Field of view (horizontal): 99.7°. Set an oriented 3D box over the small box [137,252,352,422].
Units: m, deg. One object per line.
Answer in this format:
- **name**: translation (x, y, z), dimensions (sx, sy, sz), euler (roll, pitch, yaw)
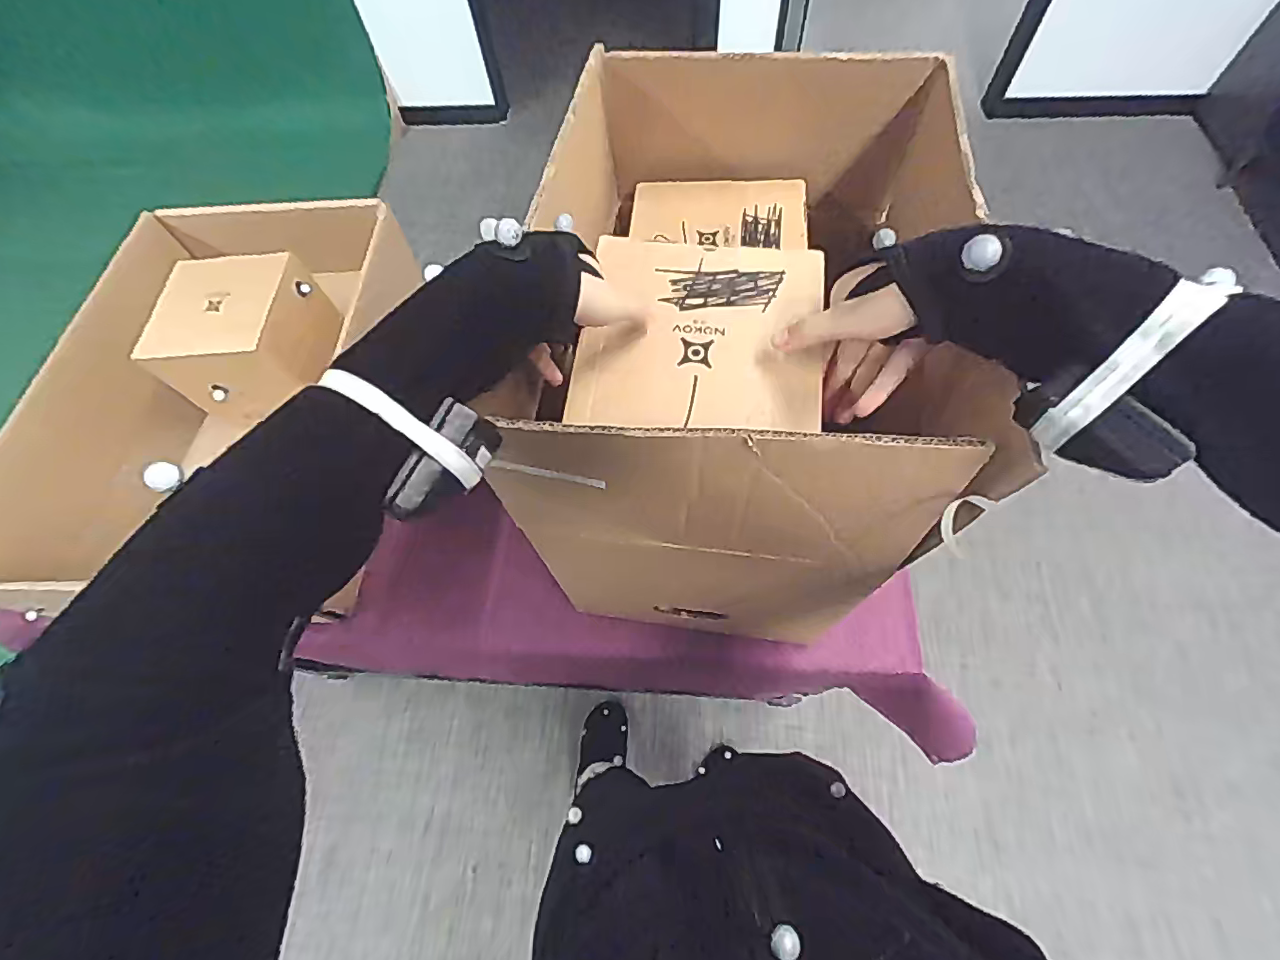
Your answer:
- **small box**: translation (-0.550, -0.196, 0.783), dimensions (0.168, 0.176, 0.179), euler (-4, 64, 3)
